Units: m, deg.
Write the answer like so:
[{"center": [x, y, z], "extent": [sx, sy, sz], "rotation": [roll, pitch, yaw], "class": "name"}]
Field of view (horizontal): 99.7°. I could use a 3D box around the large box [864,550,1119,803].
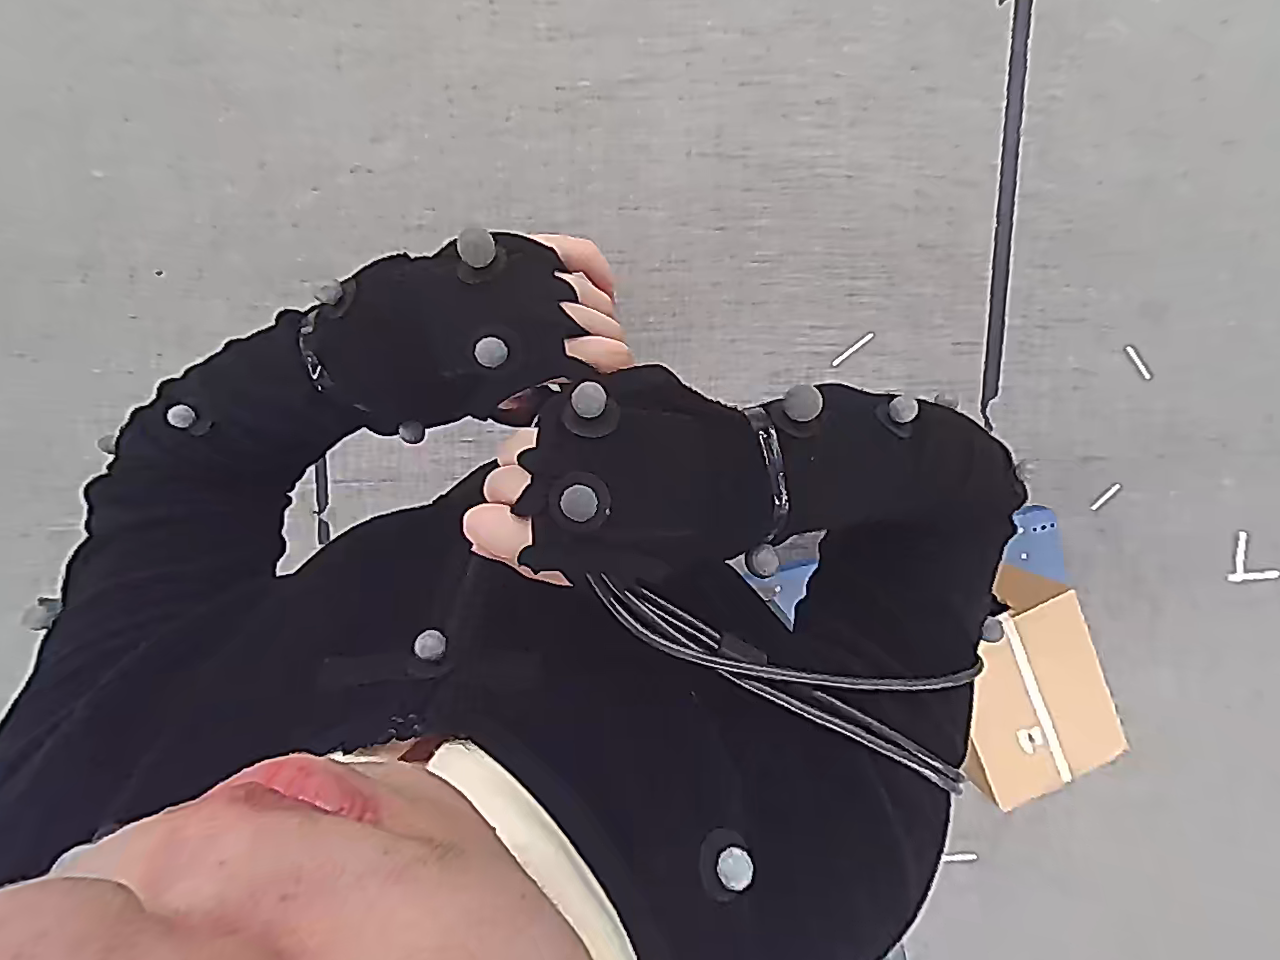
[{"center": [0.802, 0.434, 1.277], "extent": [0.320, 0.320, 0.408], "rotation": [-24, 99, -1], "class": "large box"}]
